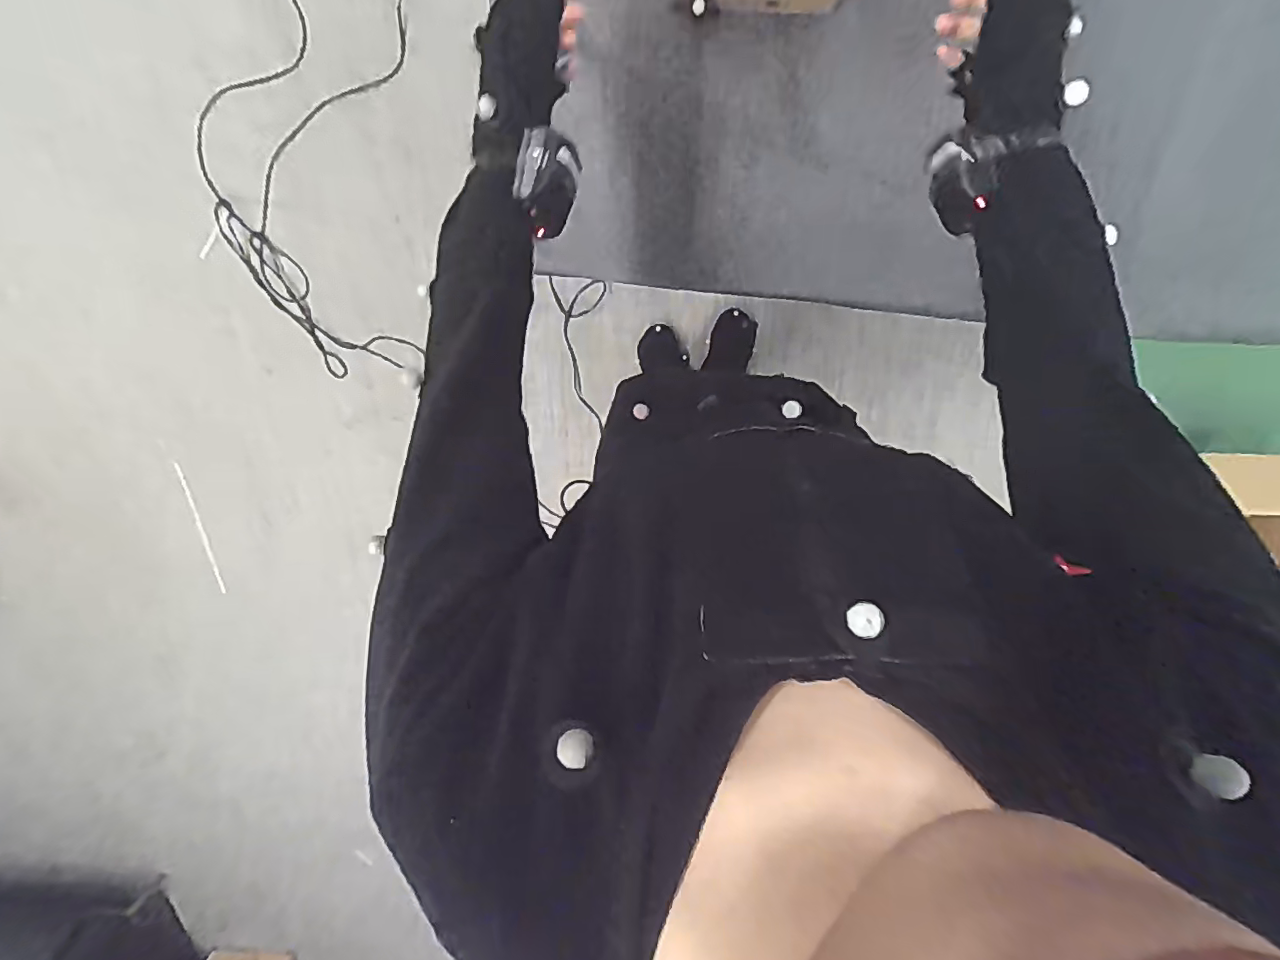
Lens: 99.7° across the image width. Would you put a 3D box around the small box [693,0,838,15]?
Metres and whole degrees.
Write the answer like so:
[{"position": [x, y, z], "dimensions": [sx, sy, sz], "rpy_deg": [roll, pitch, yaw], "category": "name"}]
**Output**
[{"position": [0.116, -0.525, 0.446], "dimensions": [0.168, 0.176, 0.179], "rpy_deg": [5, 111, 2], "category": "small box"}]
